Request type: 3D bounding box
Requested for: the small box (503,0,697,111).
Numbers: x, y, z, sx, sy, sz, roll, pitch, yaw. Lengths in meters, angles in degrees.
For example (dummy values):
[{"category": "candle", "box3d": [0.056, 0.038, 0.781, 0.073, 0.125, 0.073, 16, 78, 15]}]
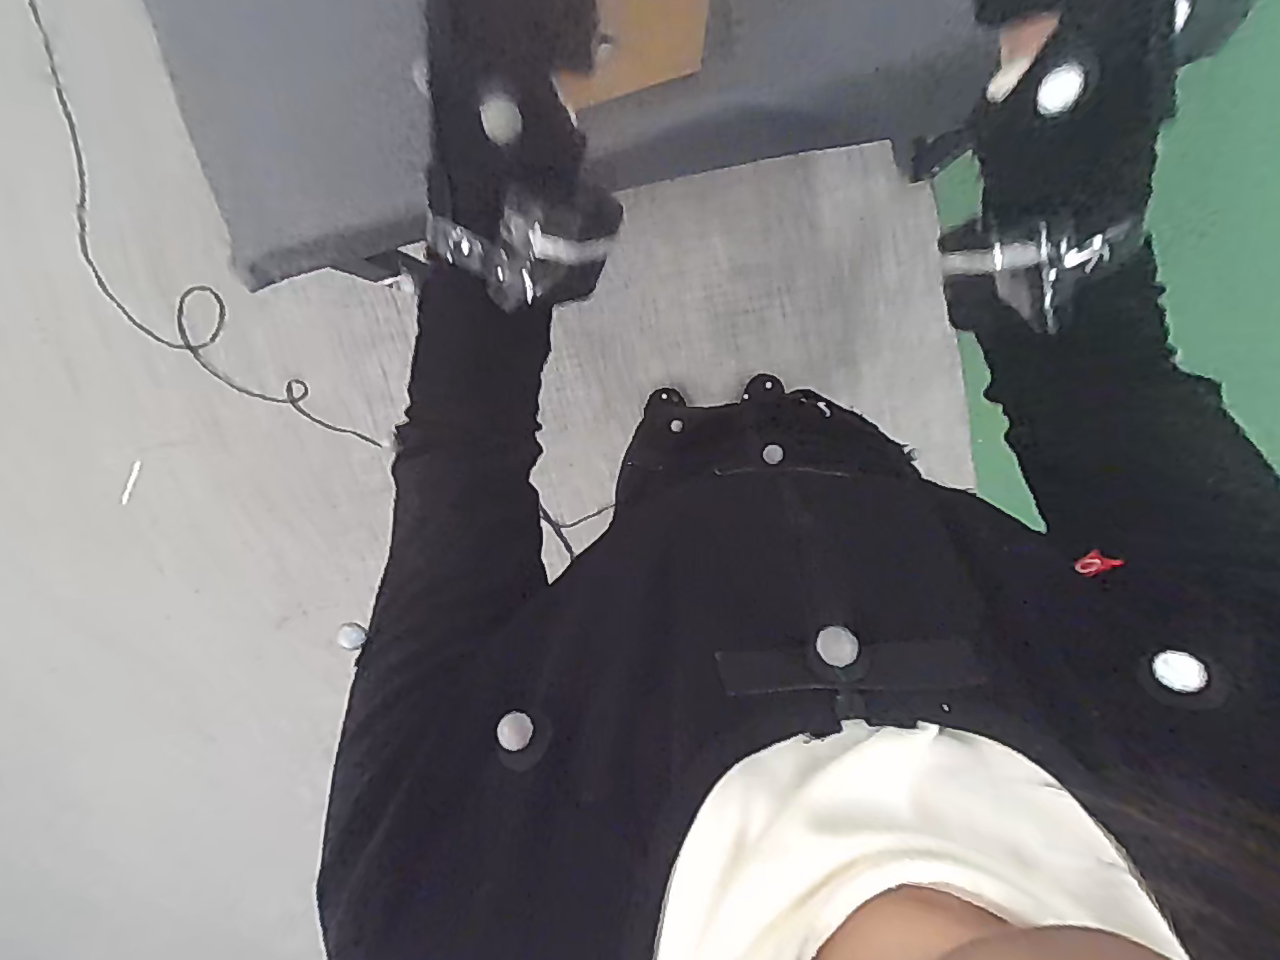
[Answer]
[{"category": "small box", "box3d": [-0.043, -0.502, 0.526, 0.179, 0.176, 0.168, -14, 98, 5]}]
